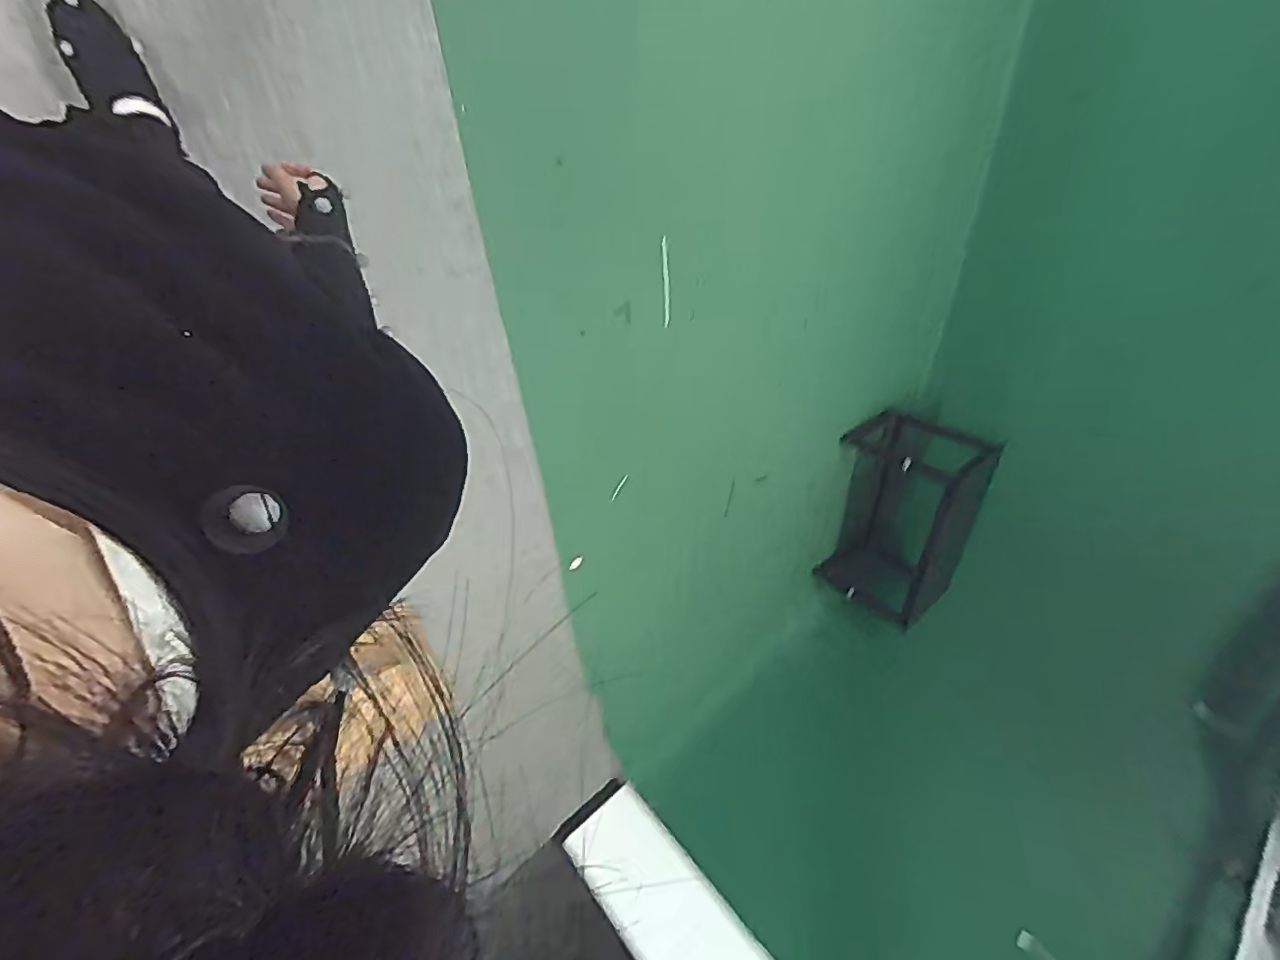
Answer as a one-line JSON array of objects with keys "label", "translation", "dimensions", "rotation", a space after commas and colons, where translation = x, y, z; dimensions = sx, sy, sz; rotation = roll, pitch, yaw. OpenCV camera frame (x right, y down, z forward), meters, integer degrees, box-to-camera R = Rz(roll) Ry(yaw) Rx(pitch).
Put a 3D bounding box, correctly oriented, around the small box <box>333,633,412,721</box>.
[{"label": "small box", "translation": [-0.861, 0.620, 1.736], "dimensions": [0.168, 0.176, 0.179], "rotation": [-24, 130, -32]}]
